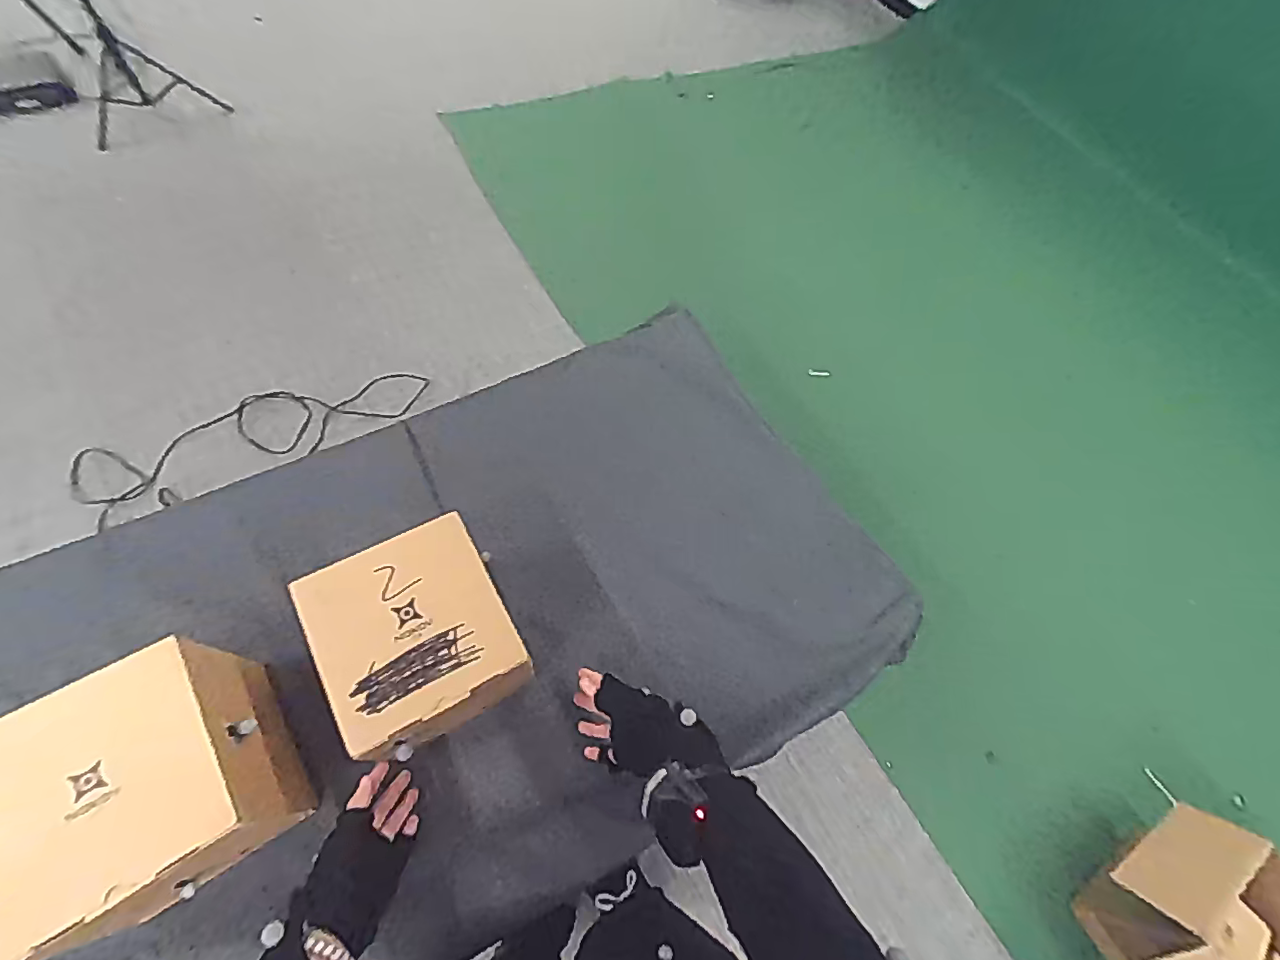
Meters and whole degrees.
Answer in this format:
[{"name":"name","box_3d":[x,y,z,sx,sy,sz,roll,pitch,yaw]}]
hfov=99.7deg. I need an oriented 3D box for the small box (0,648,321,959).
[{"name":"small box","box_3d":[-0.434,0.288,0.500,0.168,0.176,0.179,-28,71,-21]}]
